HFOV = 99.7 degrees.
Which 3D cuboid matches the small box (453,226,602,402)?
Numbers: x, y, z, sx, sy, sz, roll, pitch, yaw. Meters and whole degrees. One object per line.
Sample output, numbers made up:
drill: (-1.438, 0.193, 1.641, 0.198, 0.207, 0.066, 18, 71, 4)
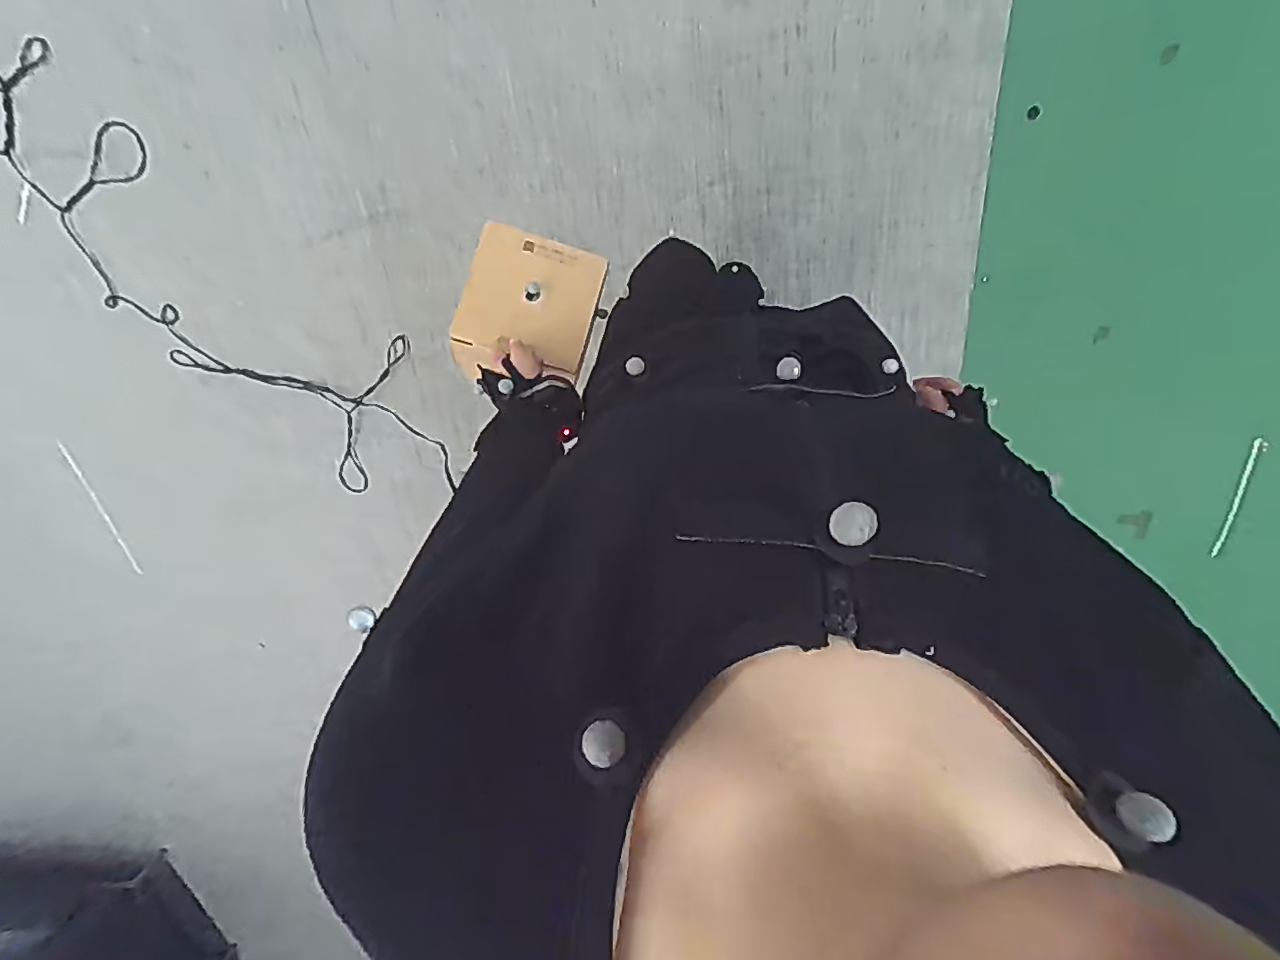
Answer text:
small box: (-0.154, -0.229, 0.775, 0.168, 0.179, 0.176, 13, 83, -8)
